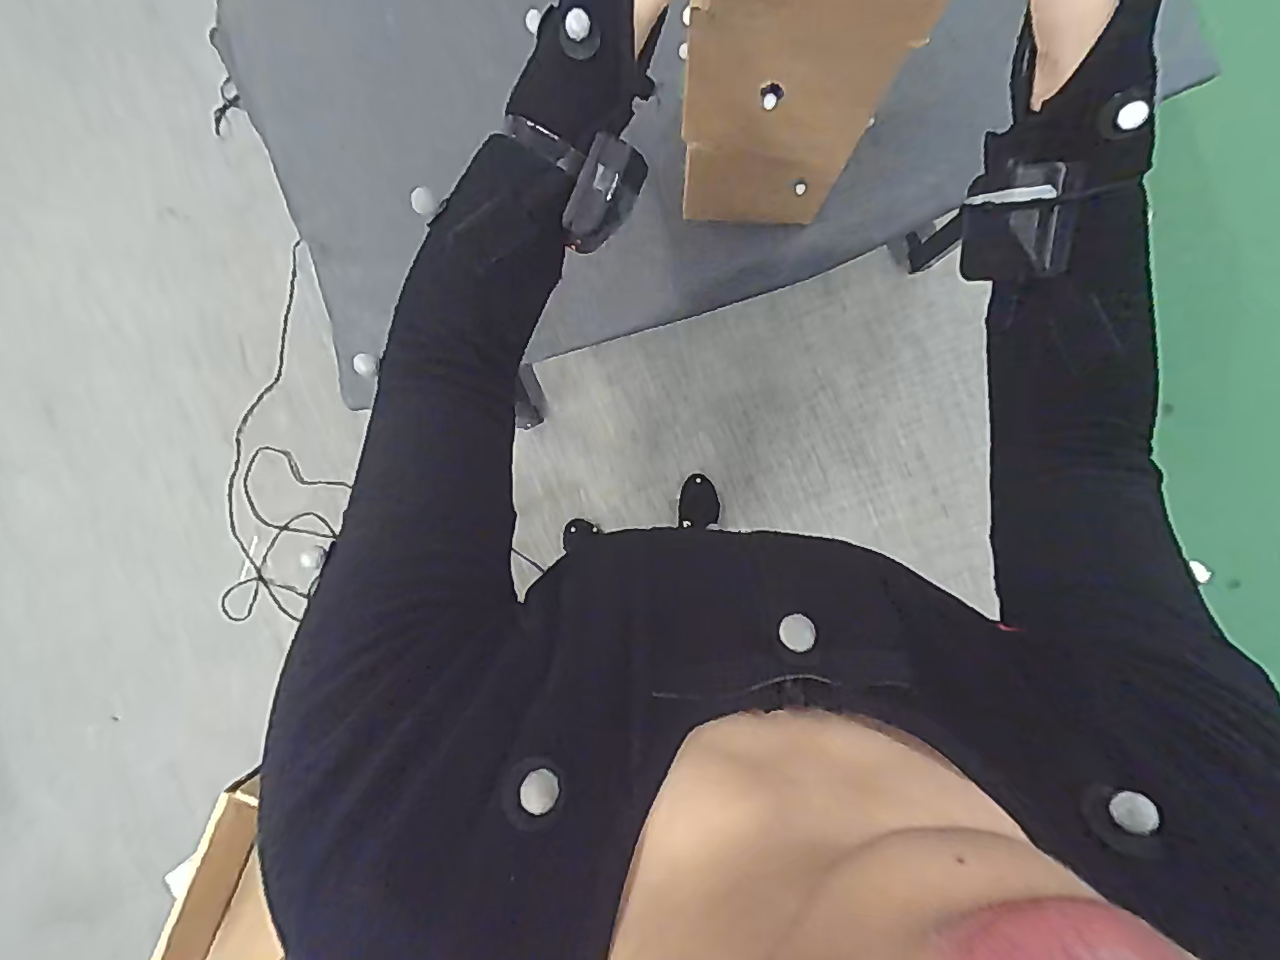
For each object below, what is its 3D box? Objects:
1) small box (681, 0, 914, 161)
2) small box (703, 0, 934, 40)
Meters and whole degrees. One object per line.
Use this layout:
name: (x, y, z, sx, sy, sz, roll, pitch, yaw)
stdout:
small box: (0.138, -0.420, 0.485, 0.179, 0.176, 0.168, 11, 92, 3)
small box: (0.135, -0.414, 0.322, 0.179, 0.176, 0.168, 11, 92, 1)
